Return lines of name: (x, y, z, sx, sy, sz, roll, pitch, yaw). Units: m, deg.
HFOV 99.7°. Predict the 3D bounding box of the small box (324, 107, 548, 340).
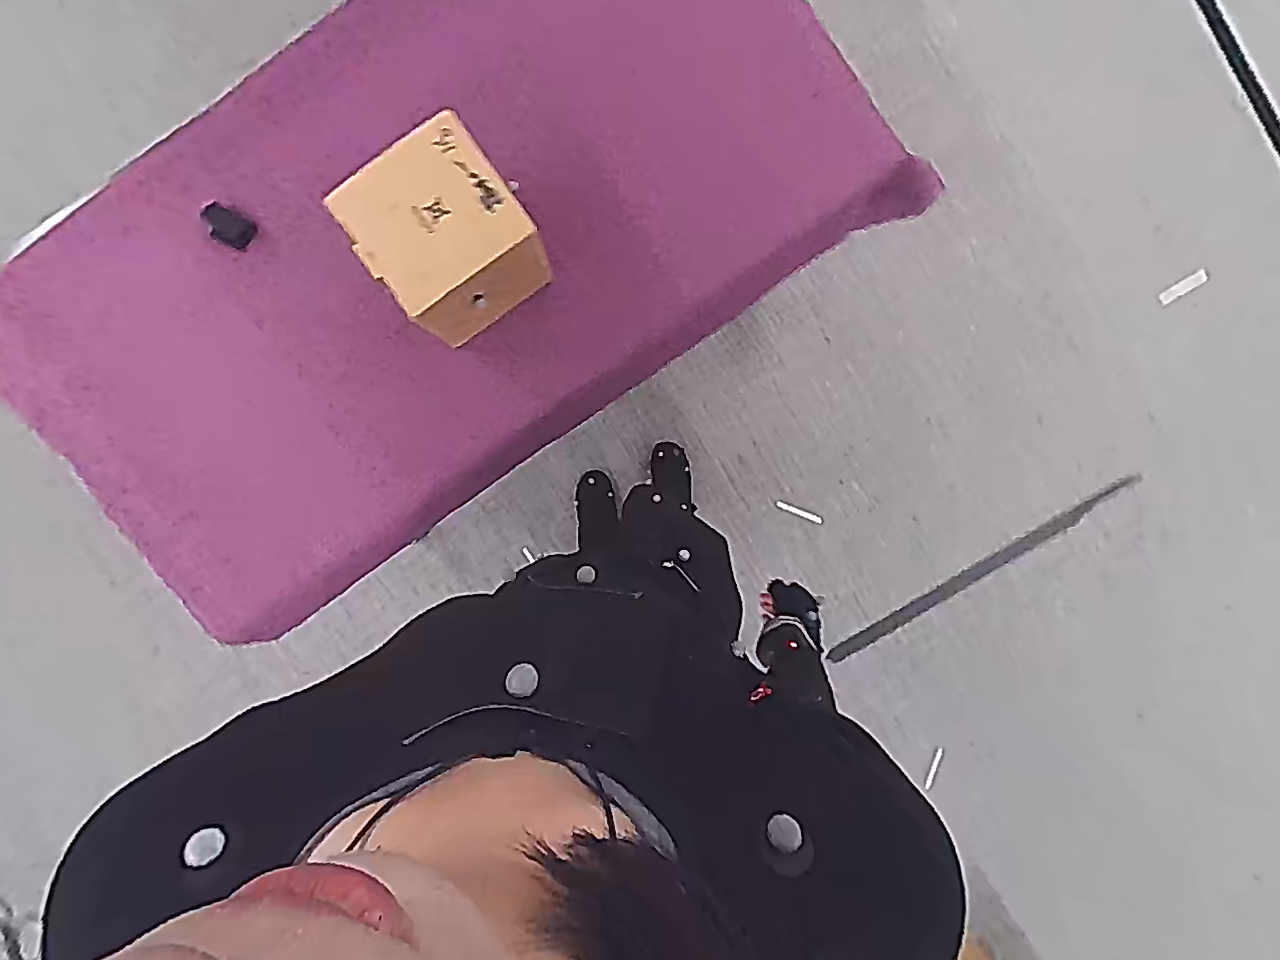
small box: (-0.237, -0.301, 0.680, 0.179, 0.176, 0.168, -36, 93, 0)
